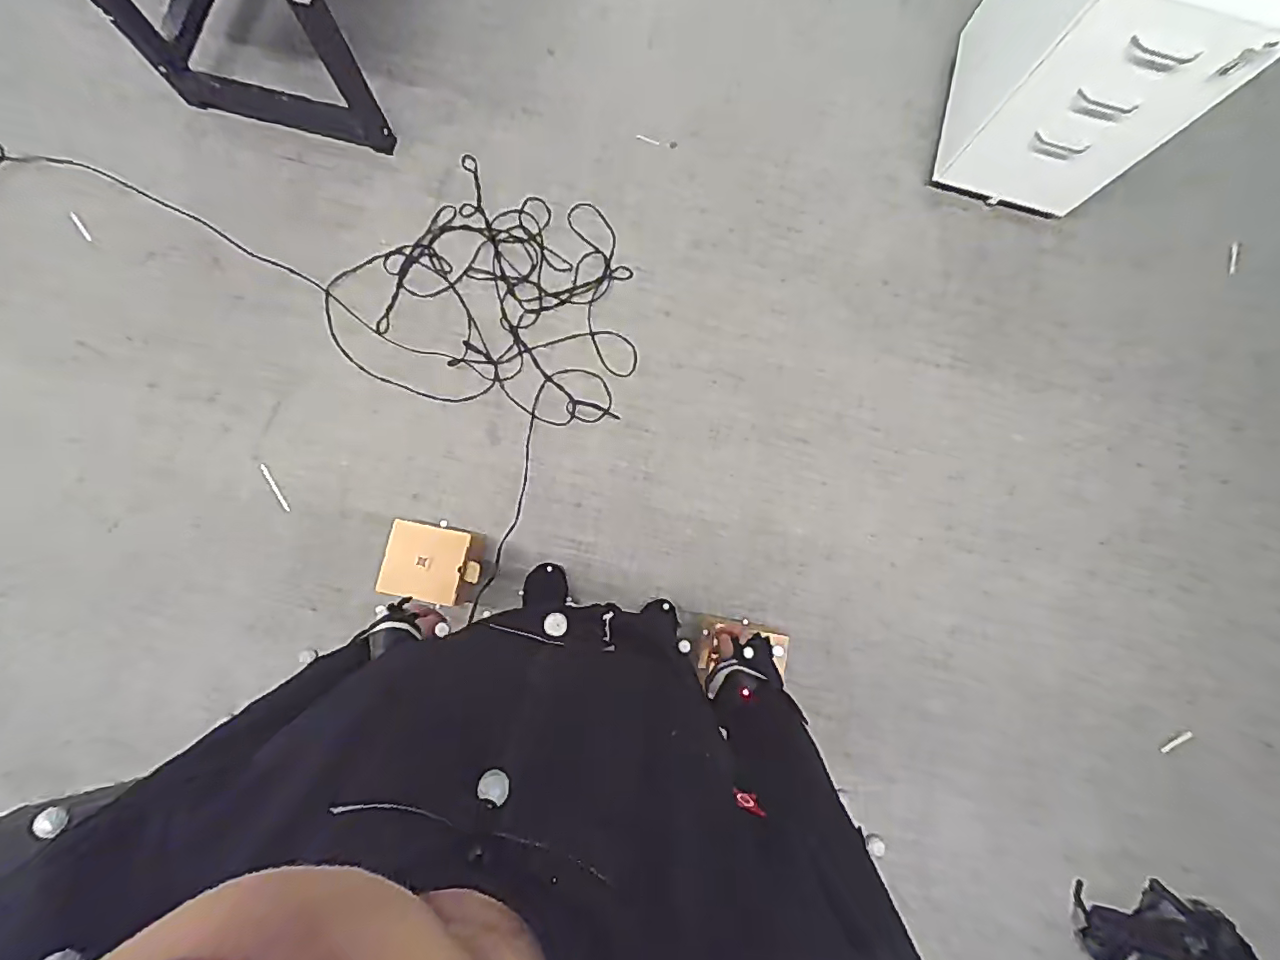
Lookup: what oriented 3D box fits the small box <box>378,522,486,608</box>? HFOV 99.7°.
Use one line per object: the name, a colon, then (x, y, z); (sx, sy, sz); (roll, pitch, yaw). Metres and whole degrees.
small box: (-0.483, 0.201, 1.281); (0.179, 0.176, 0.168); (12, 81, -3)
